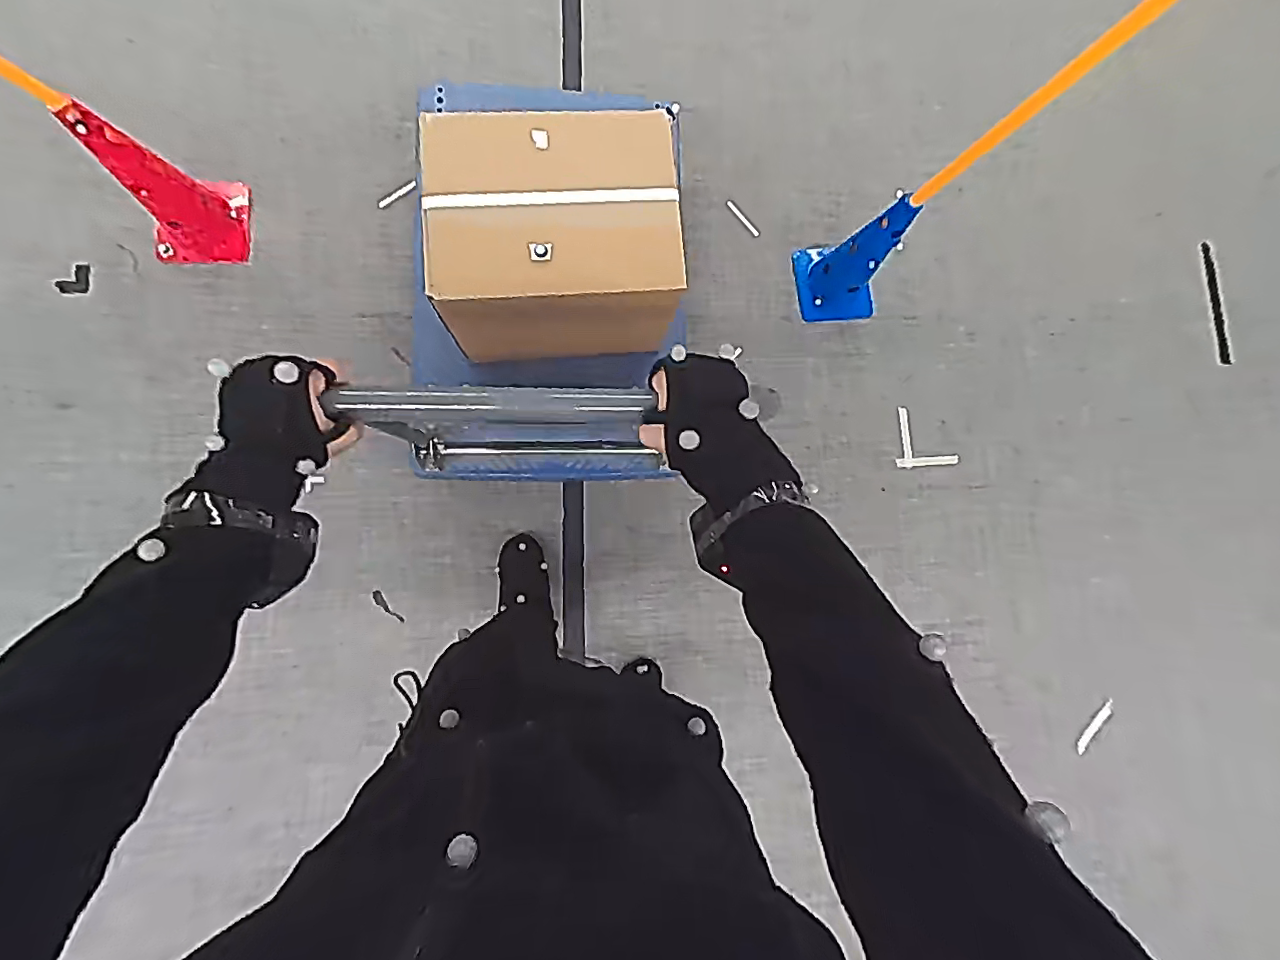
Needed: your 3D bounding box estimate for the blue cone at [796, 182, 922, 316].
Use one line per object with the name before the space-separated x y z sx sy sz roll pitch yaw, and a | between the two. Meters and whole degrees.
blue cone | 0.530 -0.545 1.259 0.193 0.380 0.192 -5 83 -7
